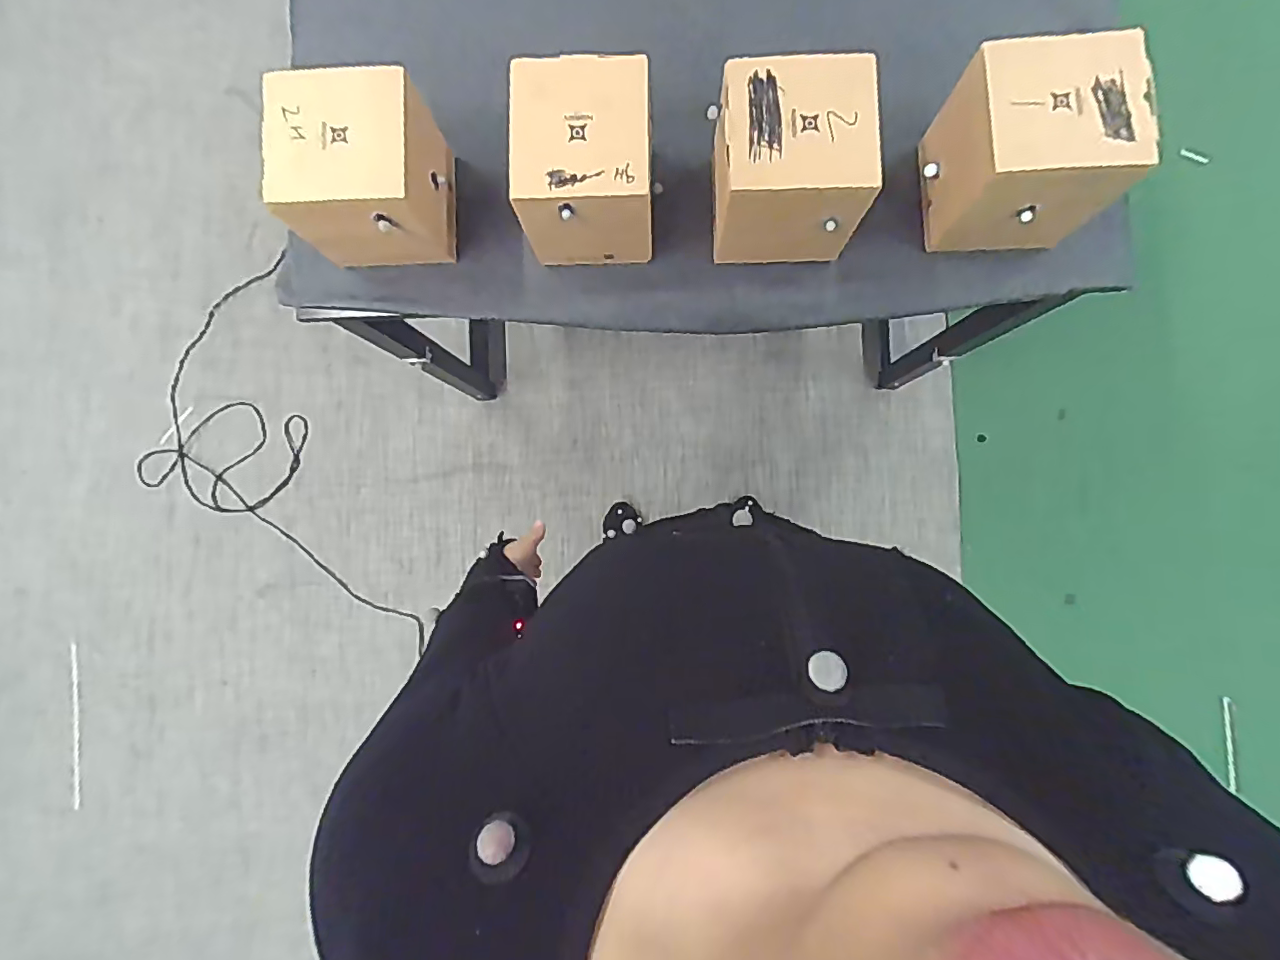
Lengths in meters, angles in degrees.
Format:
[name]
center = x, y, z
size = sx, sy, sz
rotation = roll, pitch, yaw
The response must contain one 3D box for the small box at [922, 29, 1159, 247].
[small box]
center = 0.481, -0.411, 0.676
size = 0.179, 0.176, 0.168
rotation = 0, 84, 4
